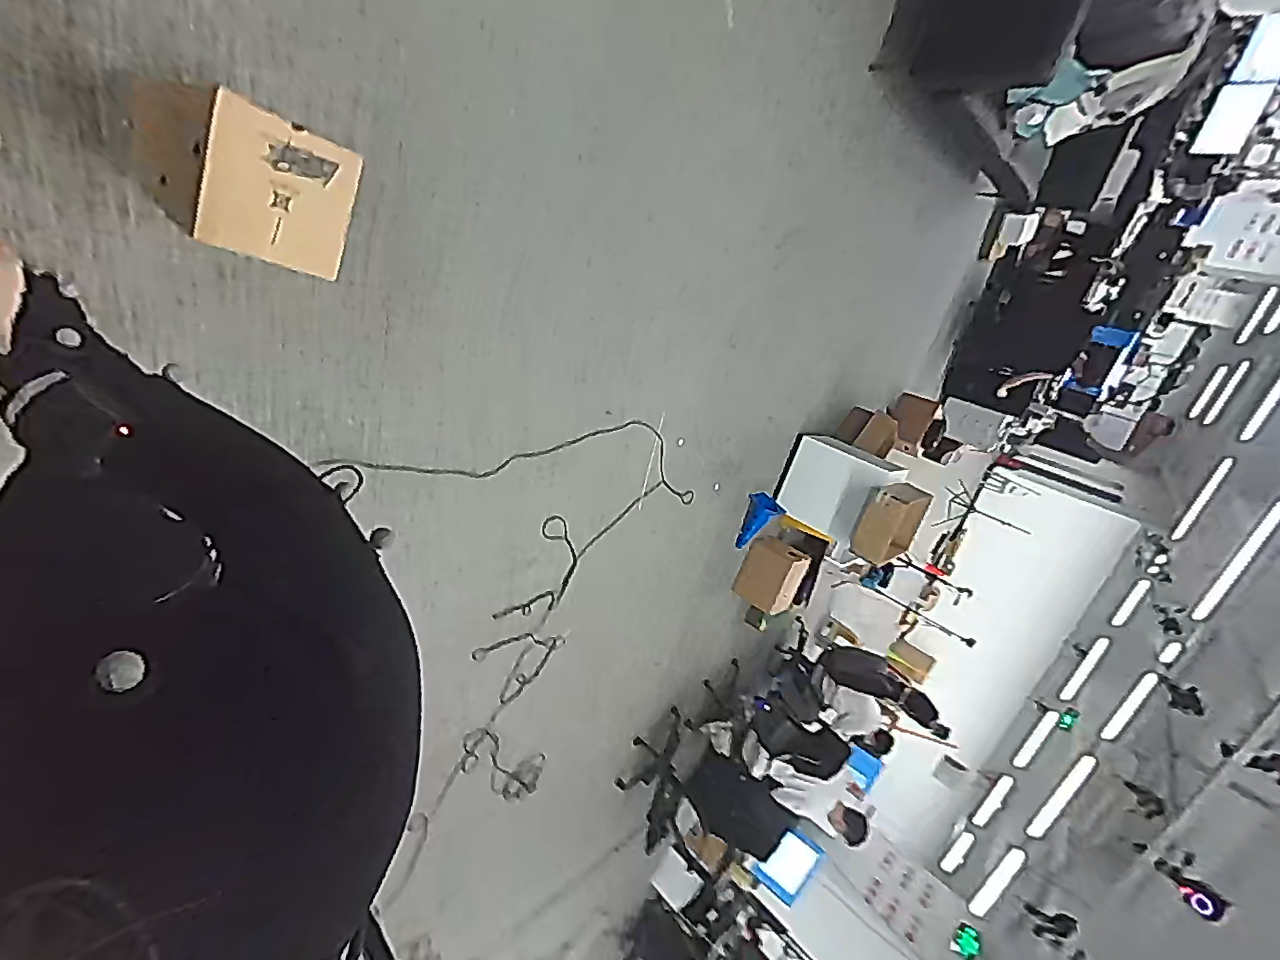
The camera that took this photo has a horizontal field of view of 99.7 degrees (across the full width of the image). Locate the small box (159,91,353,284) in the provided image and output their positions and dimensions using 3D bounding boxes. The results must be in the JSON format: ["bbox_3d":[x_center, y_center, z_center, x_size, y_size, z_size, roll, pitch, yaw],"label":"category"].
[{"bbox_3d":[-0.531,-0.400,0.745,0.168,0.176,0.179,3,114,-53],"label":"small box"}]

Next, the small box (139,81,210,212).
[{"bbox_3d":[-0.644,-0.479,0.834,0.168,0.176,0.179,1,115,-52],"label":"small box"}]
